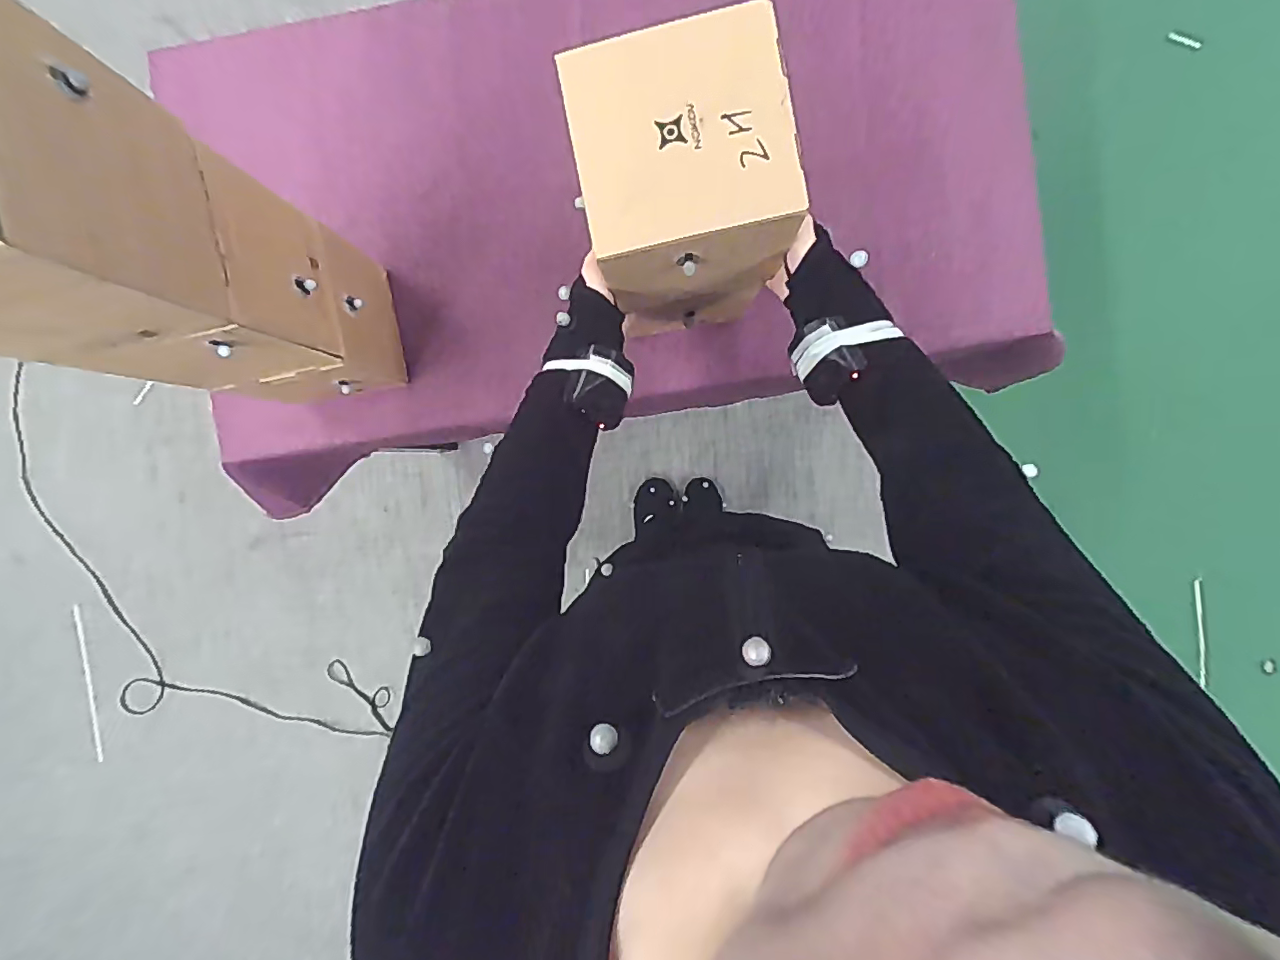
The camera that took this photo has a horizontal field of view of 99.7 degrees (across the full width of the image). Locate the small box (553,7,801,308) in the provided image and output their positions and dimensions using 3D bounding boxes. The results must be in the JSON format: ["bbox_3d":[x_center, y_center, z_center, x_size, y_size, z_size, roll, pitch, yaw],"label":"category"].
[{"bbox_3d":[0.034,-0.274,0.506,0.179,0.176,0.168,-11,93,4],"label":"small box"}]

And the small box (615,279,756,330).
[{"bbox_3d":[0.044,-0.297,0.685,0.168,0.176,0.179,-8,93,2],"label":"small box"}]

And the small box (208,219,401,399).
[{"bbox_3d":[-0.437,-0.206,0.706,0.168,0.176,0.179,-10,91,1],"label":"small box"}]

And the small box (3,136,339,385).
[{"bbox_3d":[-0.447,-0.200,0.544,0.179,0.176,0.168,-12,92,1],"label":"small box"}]
